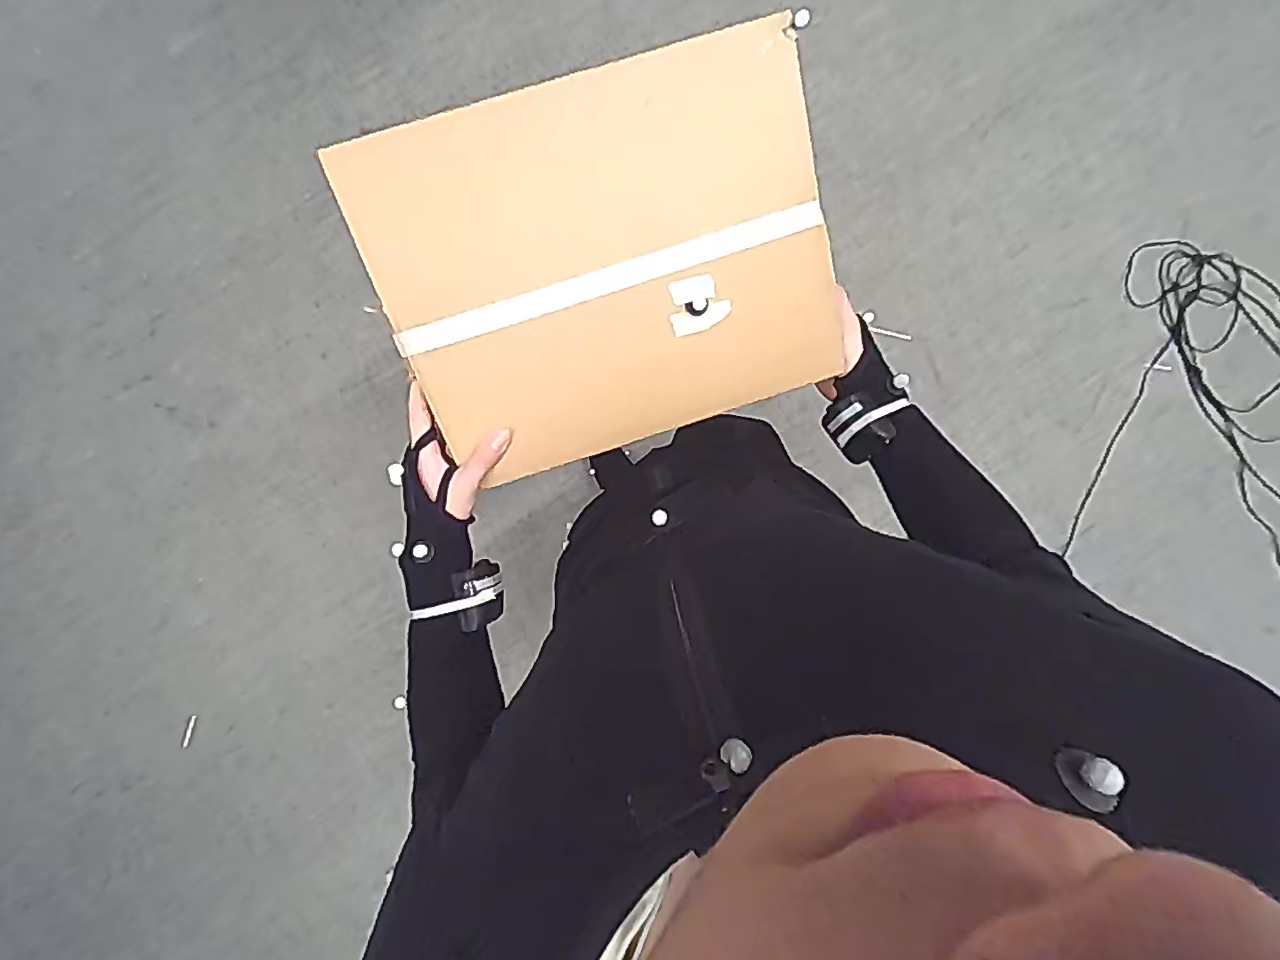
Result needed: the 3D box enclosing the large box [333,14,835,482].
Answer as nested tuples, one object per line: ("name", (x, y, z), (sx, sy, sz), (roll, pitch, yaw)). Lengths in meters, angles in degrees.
("large box", (-0.050, -0.242, 0.642), (0.408, 0.320, 0.320), (-19, 111, -3))
